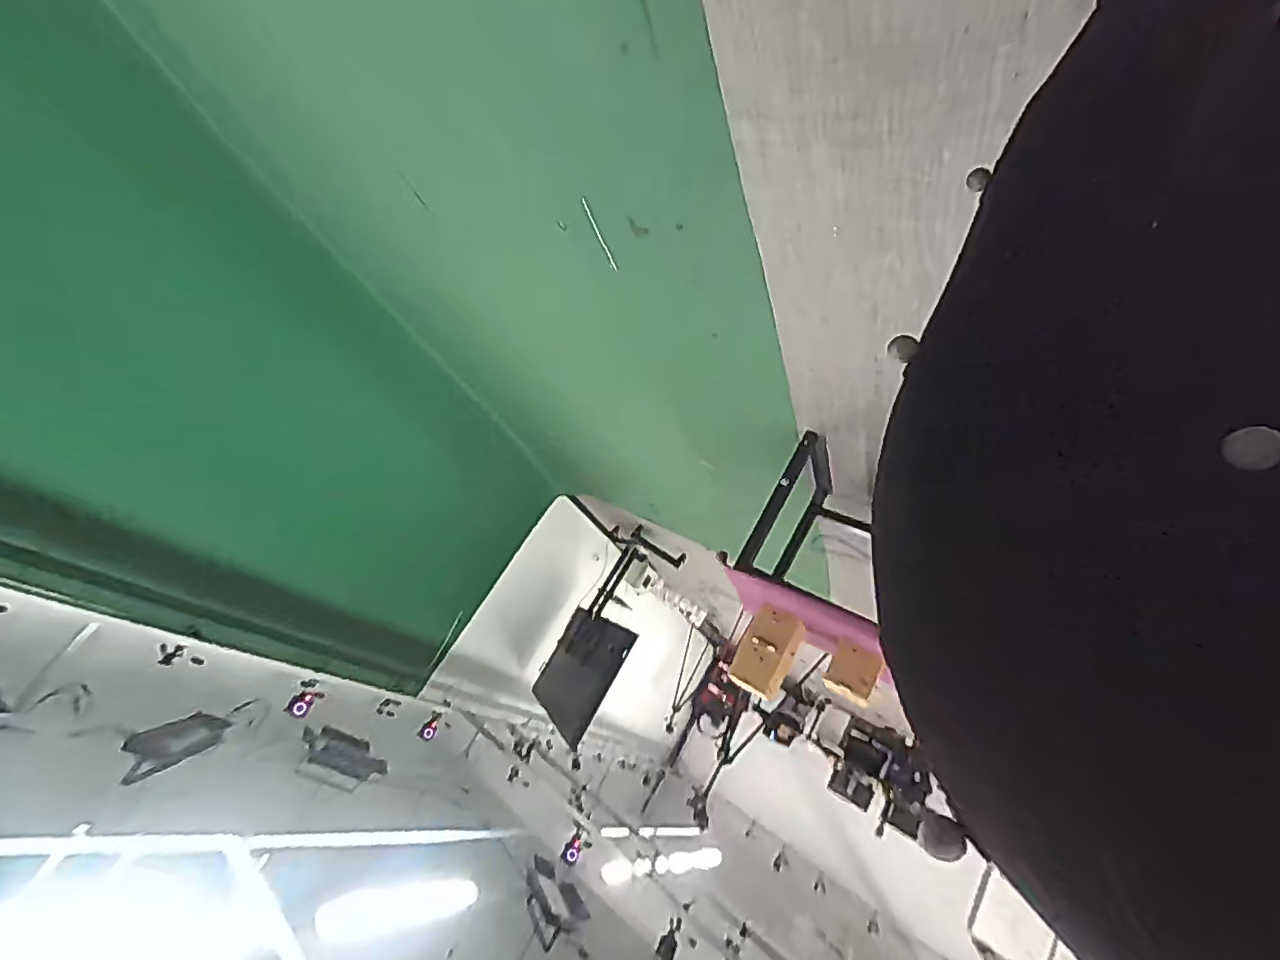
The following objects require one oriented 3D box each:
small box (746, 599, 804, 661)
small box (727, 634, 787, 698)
[{"bbox_3d":[0.566,0.623,2.247,0.168,0.176,0.179,20,160,34],"label":"small box"},{"bbox_3d":[0.483,0.758,2.207,0.168,0.176,0.179,21,160,34],"label":"small box"}]
